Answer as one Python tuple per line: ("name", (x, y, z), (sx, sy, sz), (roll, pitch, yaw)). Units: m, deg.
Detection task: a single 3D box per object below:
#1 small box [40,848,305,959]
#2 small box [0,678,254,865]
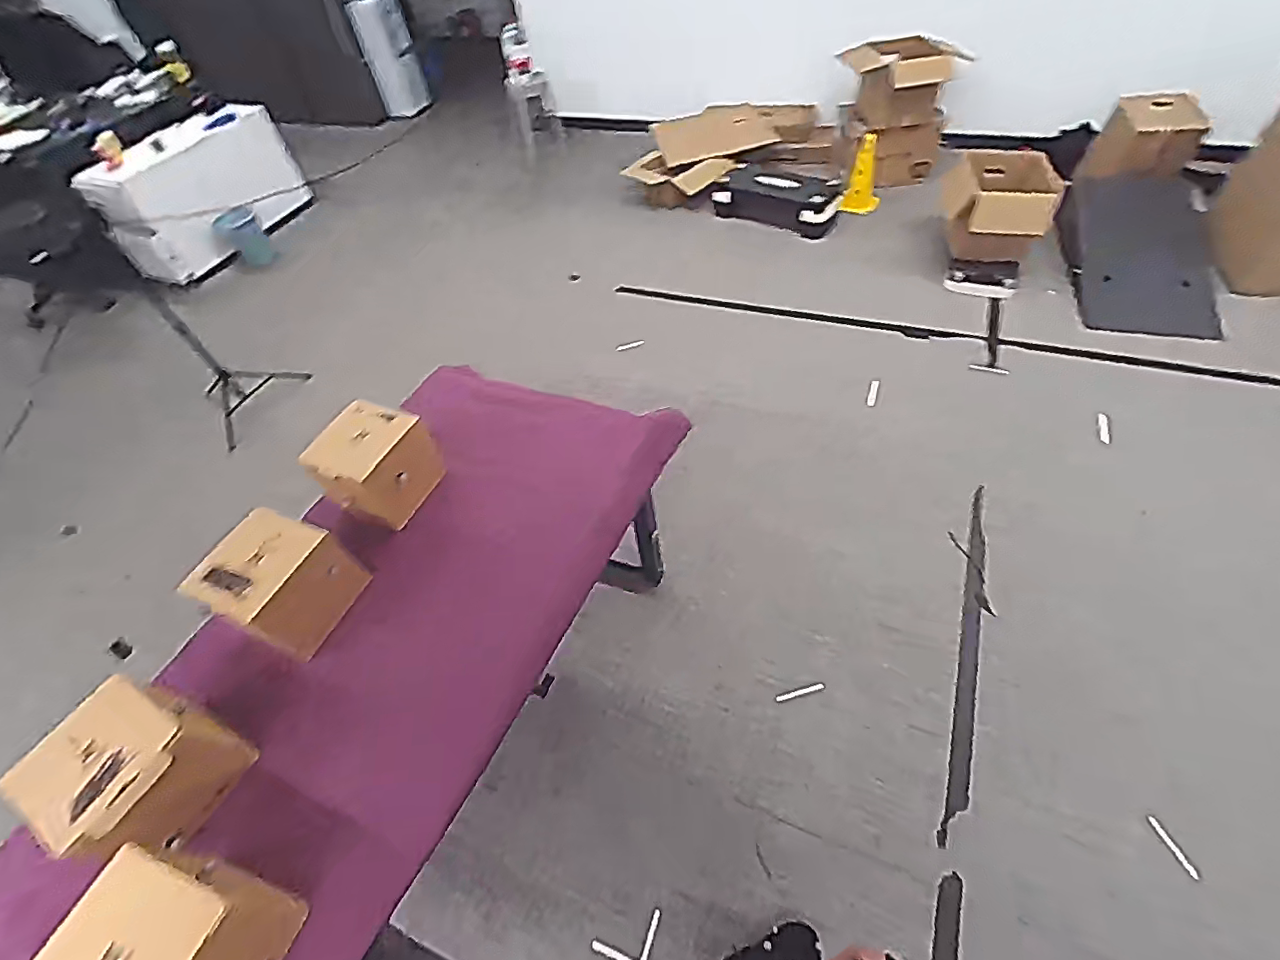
("small box", (-0.556, 0.571, 0.640), (0.179, 0.176, 0.168), (12, 53, 15))
("small box", (-0.718, 0.420, 0.780), (0.179, 0.176, 0.168), (20, 57, 21))
